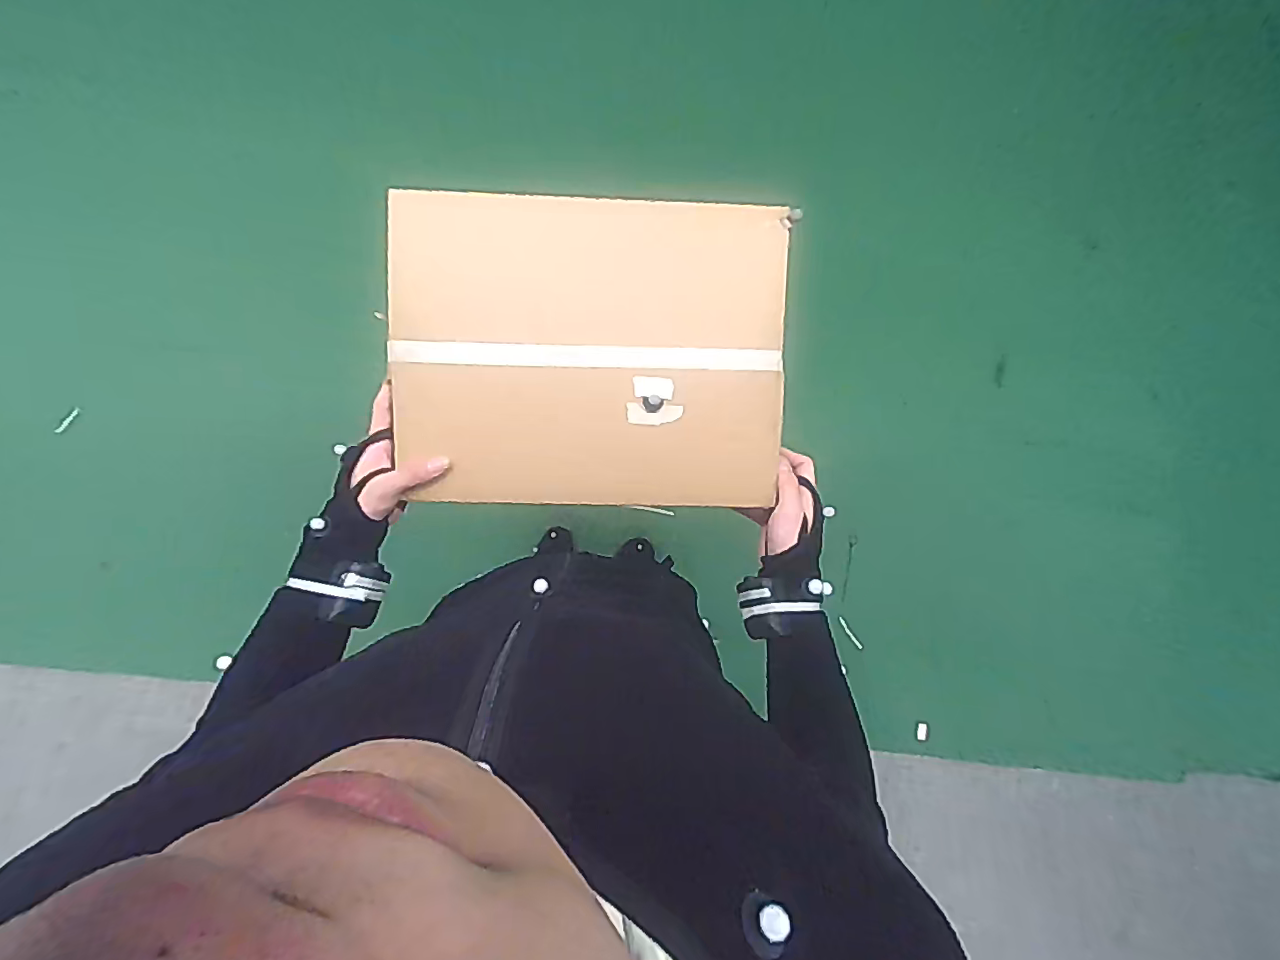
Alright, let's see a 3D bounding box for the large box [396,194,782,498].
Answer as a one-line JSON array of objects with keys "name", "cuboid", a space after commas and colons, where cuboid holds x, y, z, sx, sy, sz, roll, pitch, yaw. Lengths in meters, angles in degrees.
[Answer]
[{"name": "large box", "cuboid": [-0.060, -0.150, 0.717, 0.408, 0.320, 0.320, 1, 97, -4]}]
